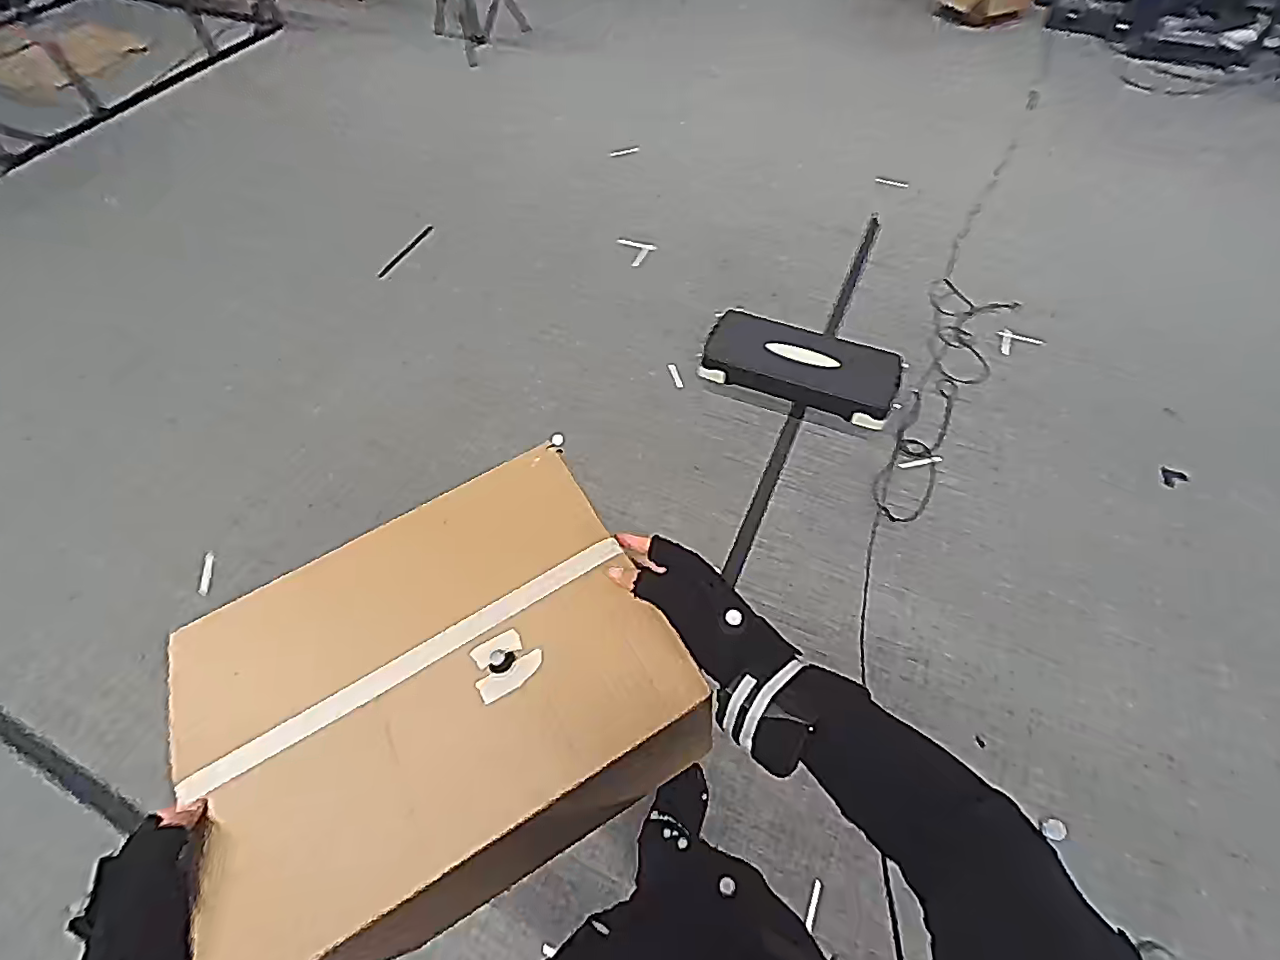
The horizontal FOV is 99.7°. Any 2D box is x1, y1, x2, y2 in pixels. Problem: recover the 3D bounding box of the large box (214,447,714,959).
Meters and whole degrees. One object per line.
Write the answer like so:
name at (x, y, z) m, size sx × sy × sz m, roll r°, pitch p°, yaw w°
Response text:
large box at (-0.164, 0.240, 0.615) m, size 0.408 × 0.320 × 0.320 m, roll -27°, pitch 57°, yaw -12°
